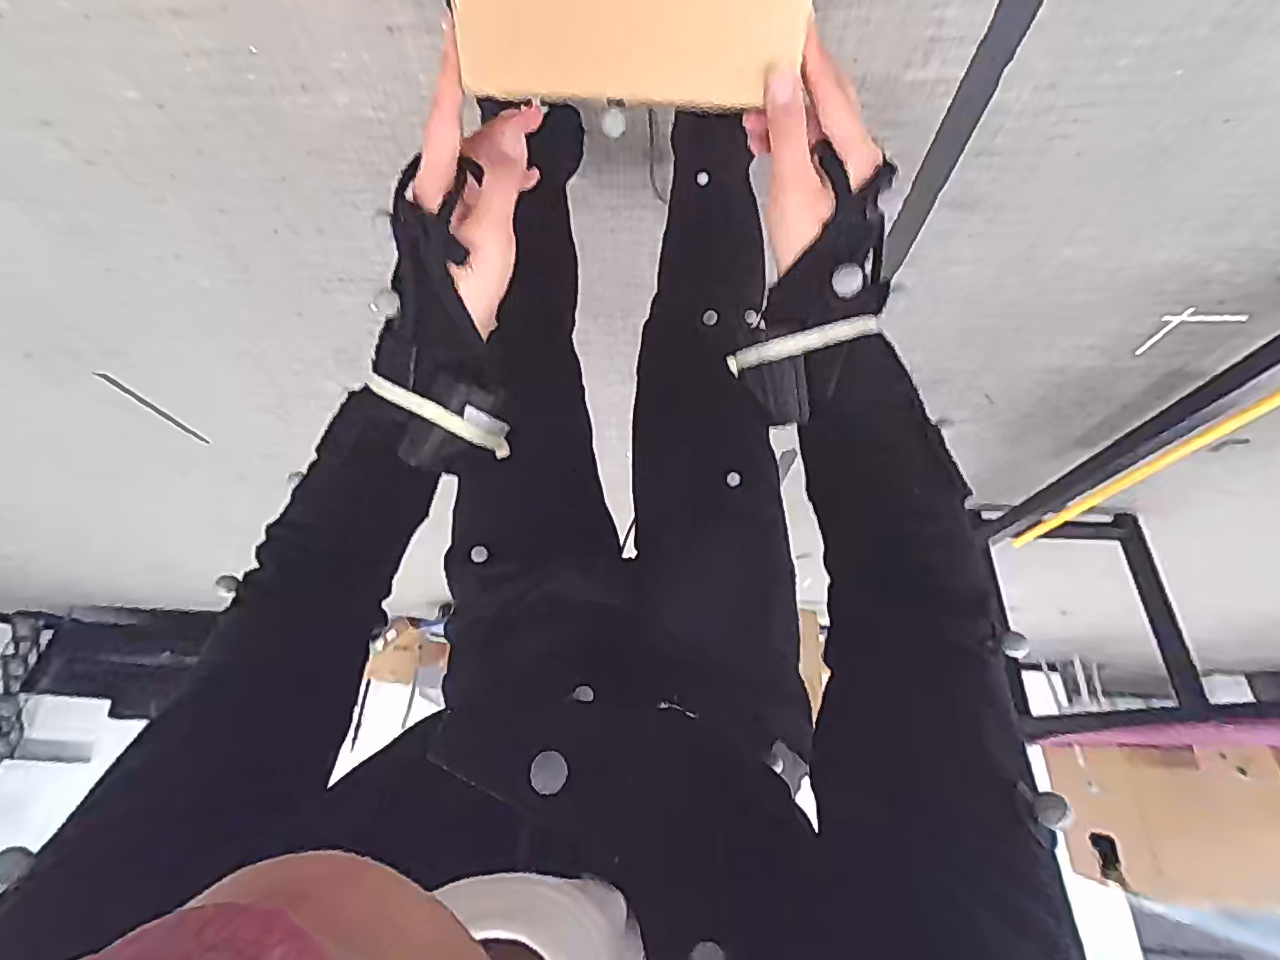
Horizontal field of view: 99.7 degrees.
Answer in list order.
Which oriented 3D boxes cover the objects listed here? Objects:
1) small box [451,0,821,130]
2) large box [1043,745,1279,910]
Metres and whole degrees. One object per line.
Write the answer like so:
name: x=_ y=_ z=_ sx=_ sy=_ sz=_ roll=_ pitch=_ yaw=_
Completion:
small box: x=-0.008 y=-0.299 z=0.296 sx=0.179 sy=0.176 sz=0.168 roll=-1 pitch=125 yaw=-7
large box: x=1.330 y=0.832 z=1.331 sx=0.408 sy=0.320 sz=0.320 roll=0 pitch=154 yaw=3
